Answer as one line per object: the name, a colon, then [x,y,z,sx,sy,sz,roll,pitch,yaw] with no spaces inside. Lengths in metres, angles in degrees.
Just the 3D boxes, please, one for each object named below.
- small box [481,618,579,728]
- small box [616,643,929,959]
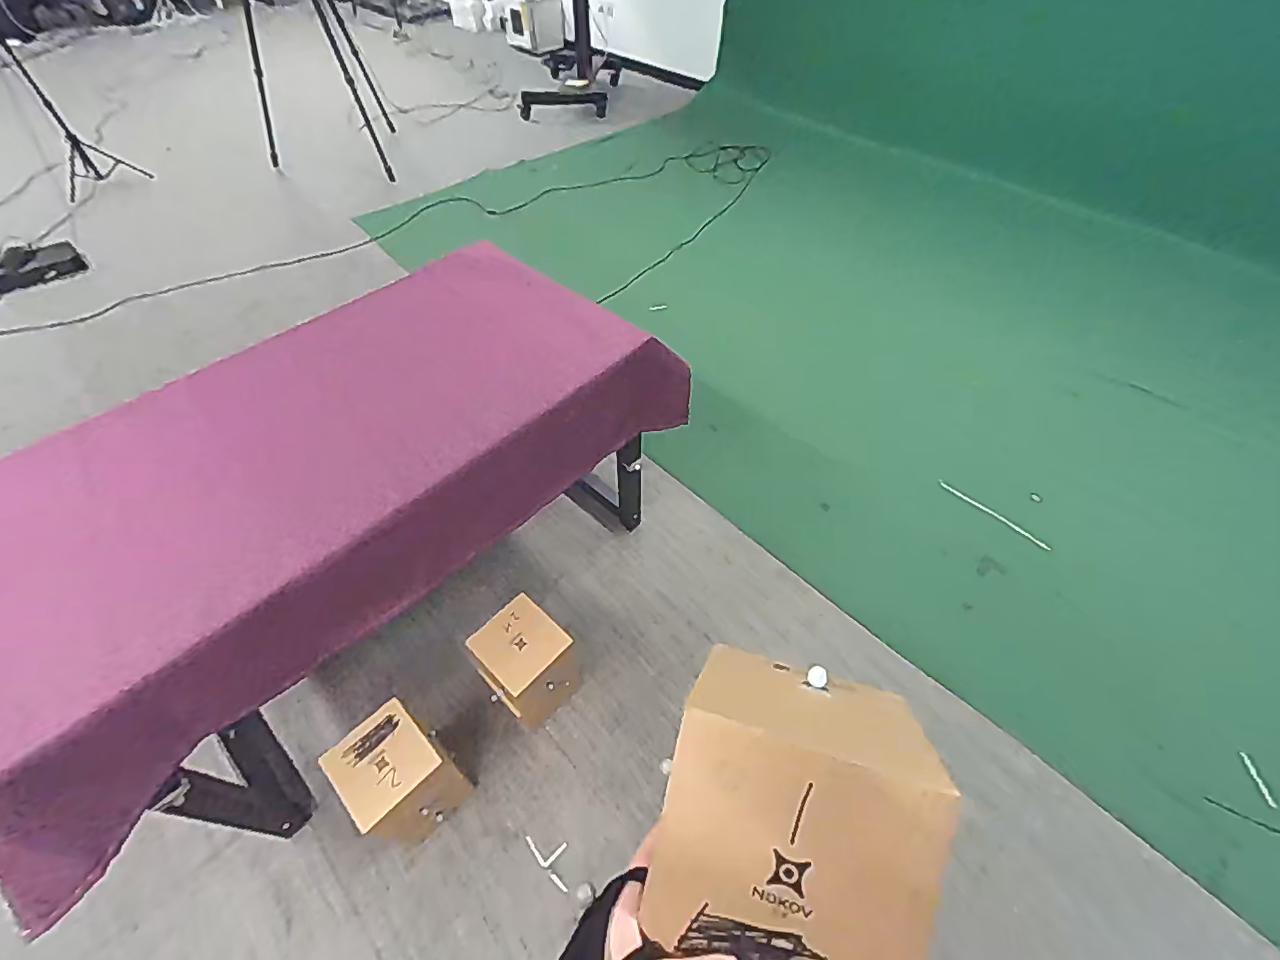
small box: [-0.271,0.496,1.377,0.168,0.176,0.179,38,60,25]
small box: [0.099,0.249,0.418,0.168,0.176,0.179,13,91,16]
